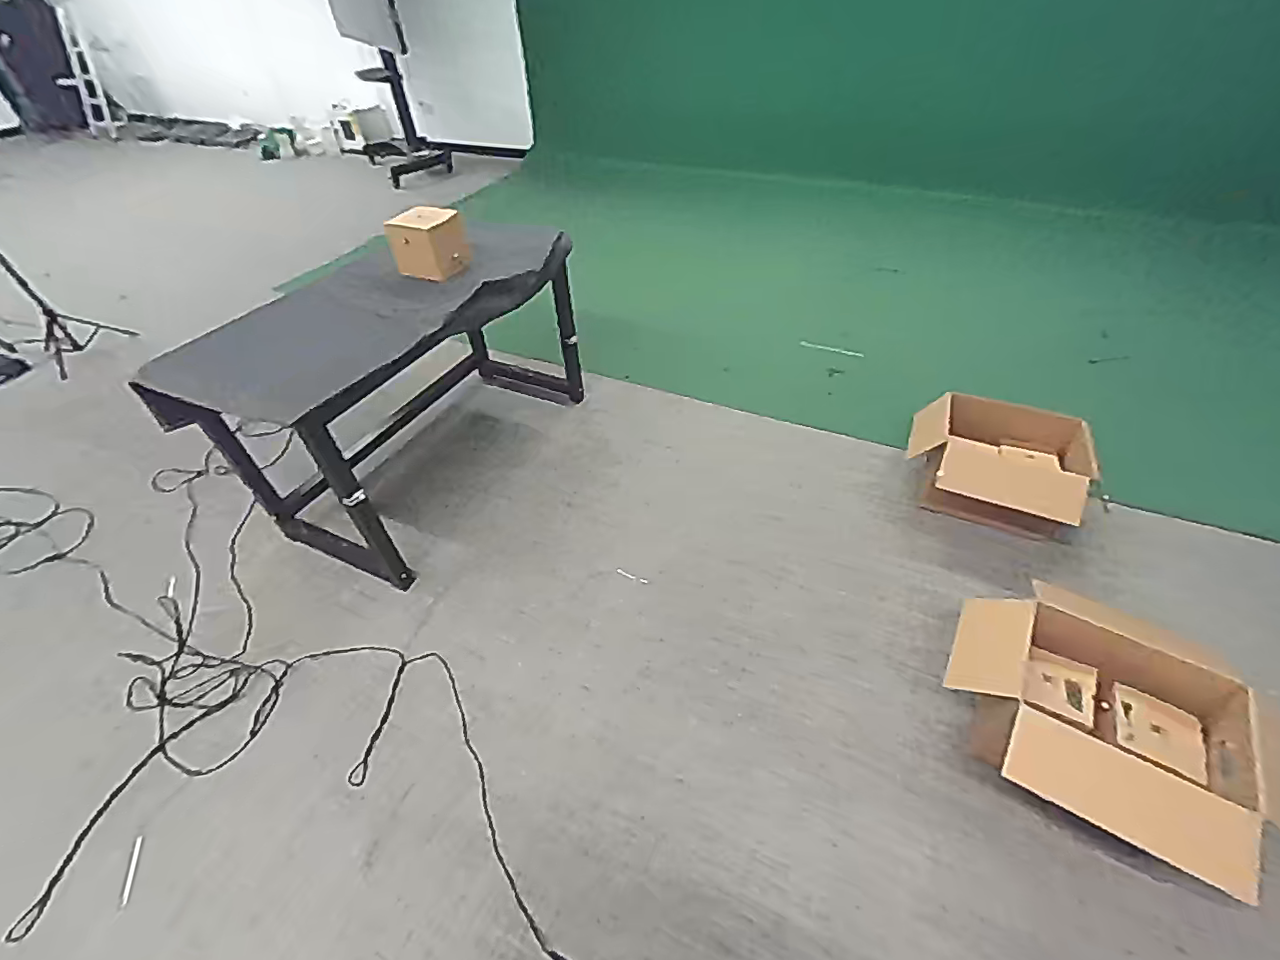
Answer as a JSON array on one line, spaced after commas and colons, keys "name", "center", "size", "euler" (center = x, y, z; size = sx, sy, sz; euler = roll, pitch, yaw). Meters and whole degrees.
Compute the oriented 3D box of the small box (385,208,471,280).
[{"name": "small box", "center": [-0.688, -0.773, 1.772], "size": [0.179, 0.176, 0.168], "euler": [16, 48, 18]}]
